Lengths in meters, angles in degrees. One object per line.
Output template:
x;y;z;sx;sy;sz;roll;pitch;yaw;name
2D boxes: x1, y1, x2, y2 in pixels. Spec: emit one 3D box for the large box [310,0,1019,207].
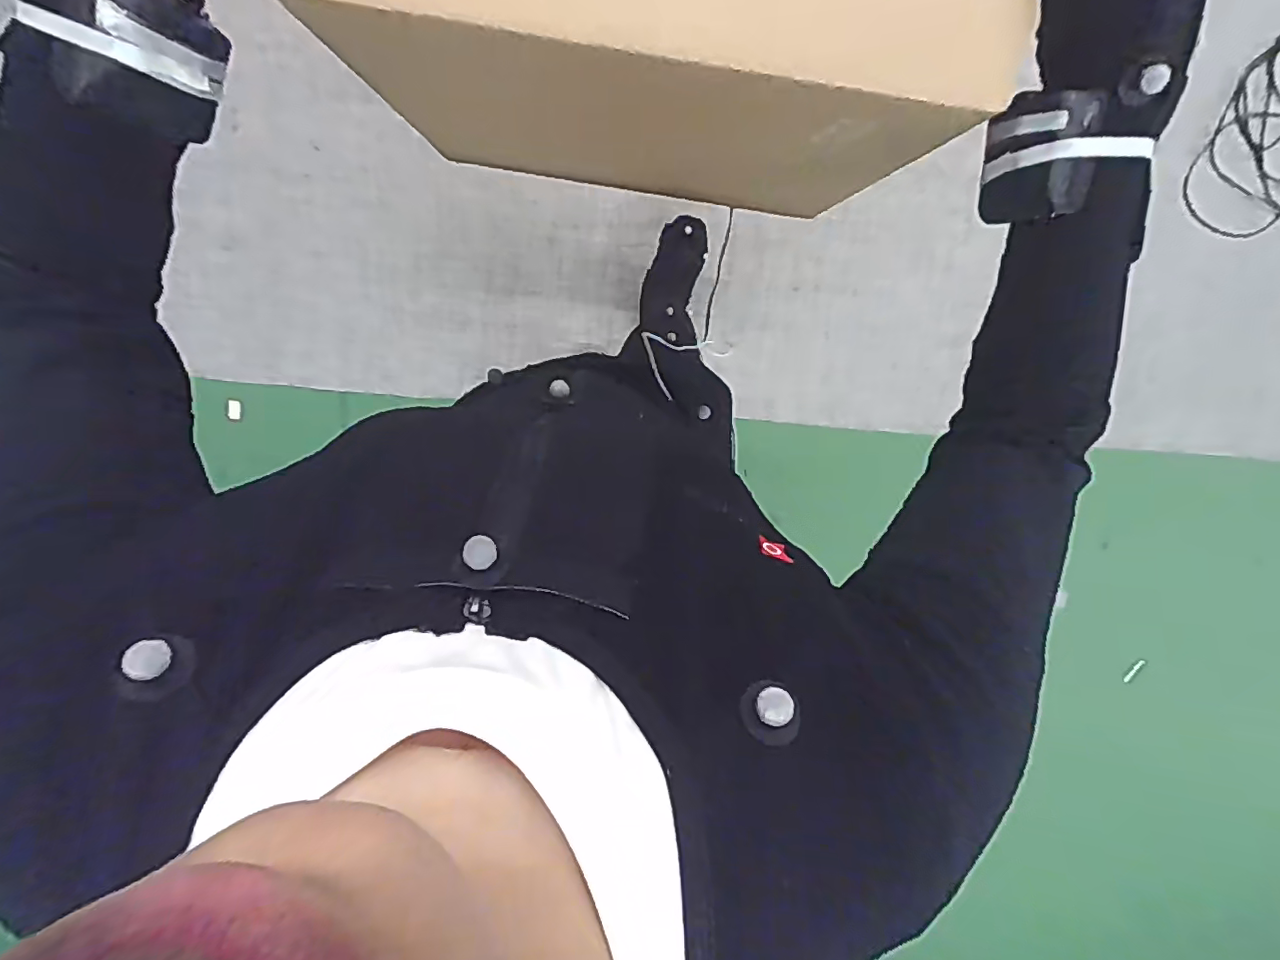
0.021;-0.425;0.405;0.408;0.320;0.320;6;106;-4;large box
